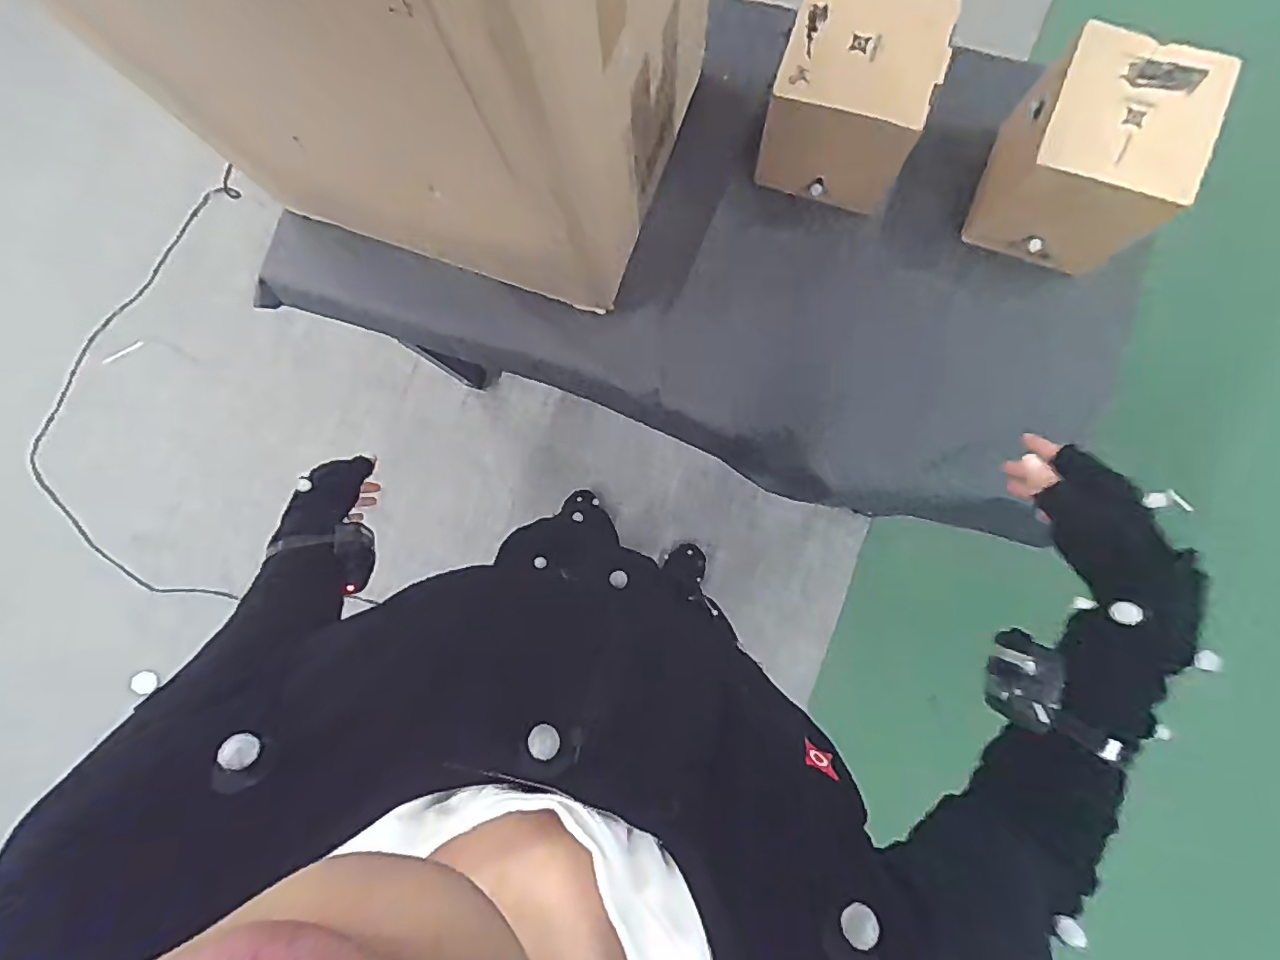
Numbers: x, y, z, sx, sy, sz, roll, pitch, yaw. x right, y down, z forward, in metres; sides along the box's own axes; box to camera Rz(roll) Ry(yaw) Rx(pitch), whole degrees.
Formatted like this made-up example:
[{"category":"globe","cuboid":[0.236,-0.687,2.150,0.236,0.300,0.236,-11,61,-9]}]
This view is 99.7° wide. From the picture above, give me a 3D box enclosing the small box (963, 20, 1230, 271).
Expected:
[{"category":"small box","cuboid":[0.540,-0.396,0.669,0.168,0.176,0.179,21,88,6]}]
